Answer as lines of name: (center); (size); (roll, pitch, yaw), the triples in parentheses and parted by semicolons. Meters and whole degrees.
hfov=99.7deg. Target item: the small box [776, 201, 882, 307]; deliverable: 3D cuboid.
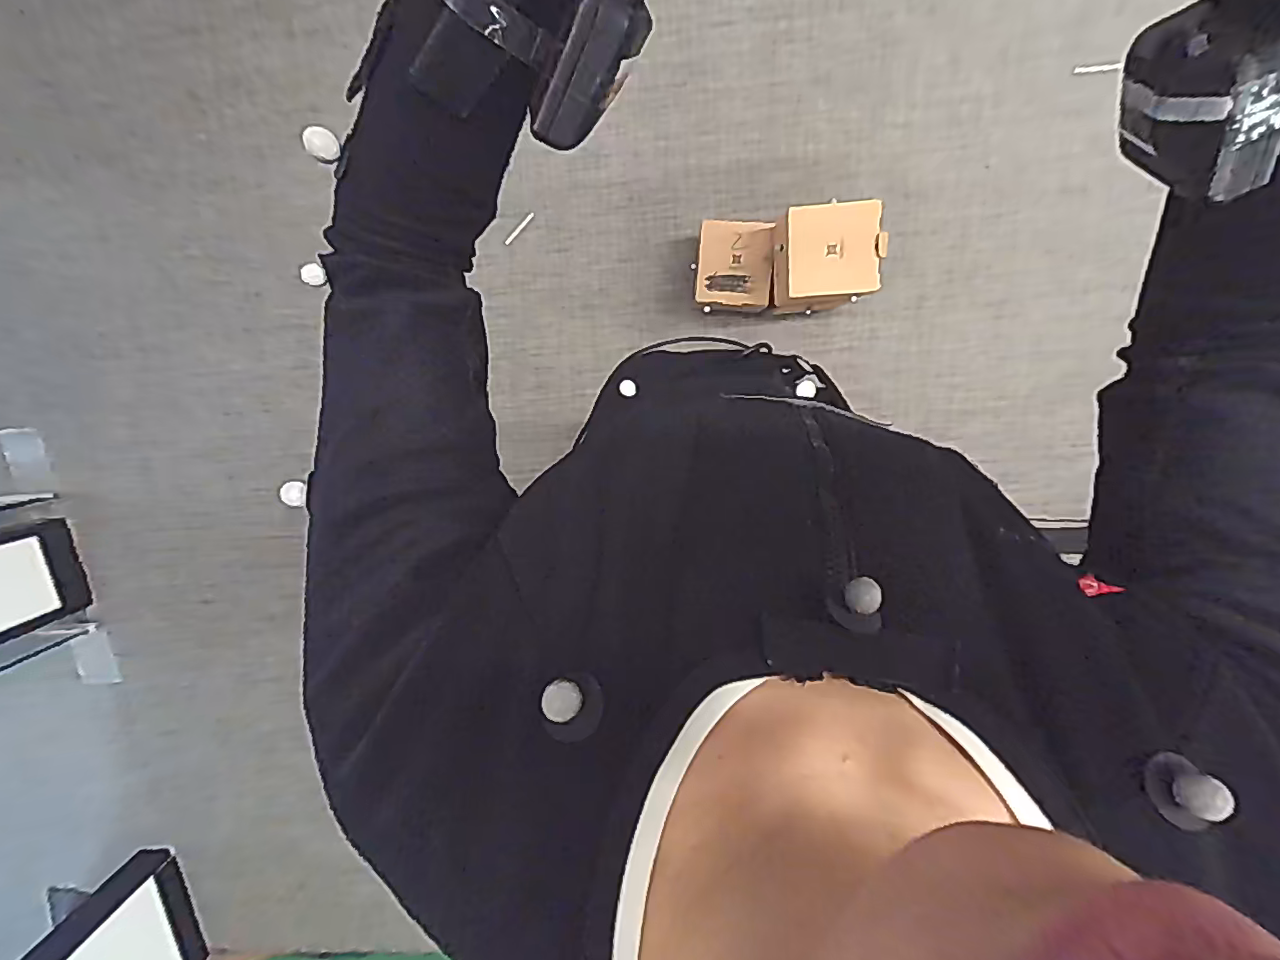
small box: (0.378, -0.455, 1.112); (0.179, 0.176, 0.168); (-4, 102, 4)
